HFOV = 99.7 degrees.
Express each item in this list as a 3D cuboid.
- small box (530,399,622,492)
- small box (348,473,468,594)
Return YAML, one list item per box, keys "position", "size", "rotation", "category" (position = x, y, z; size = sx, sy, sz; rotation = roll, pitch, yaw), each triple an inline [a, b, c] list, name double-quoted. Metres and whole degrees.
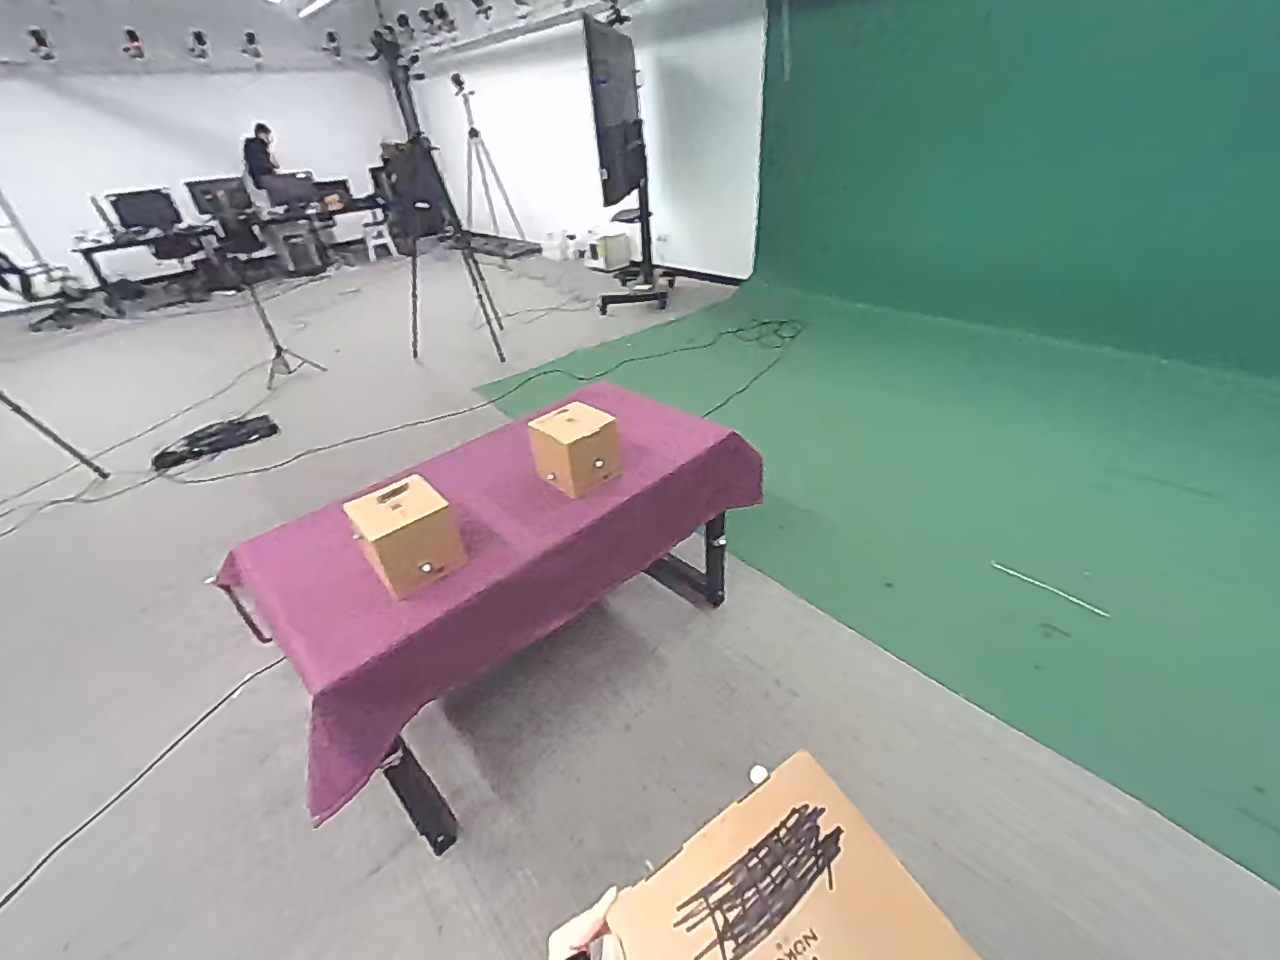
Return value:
- position: [-0.164, -0.088, 1.429]
  size: [0.168, 0.176, 0.179]
  rotation: [-31, 42, -32]
  category: "small box"
- position: [-0.502, 0.115, 1.179]
  size: [0.168, 0.176, 0.179]
  rotation: [-30, 42, -31]
  category: "small box"
